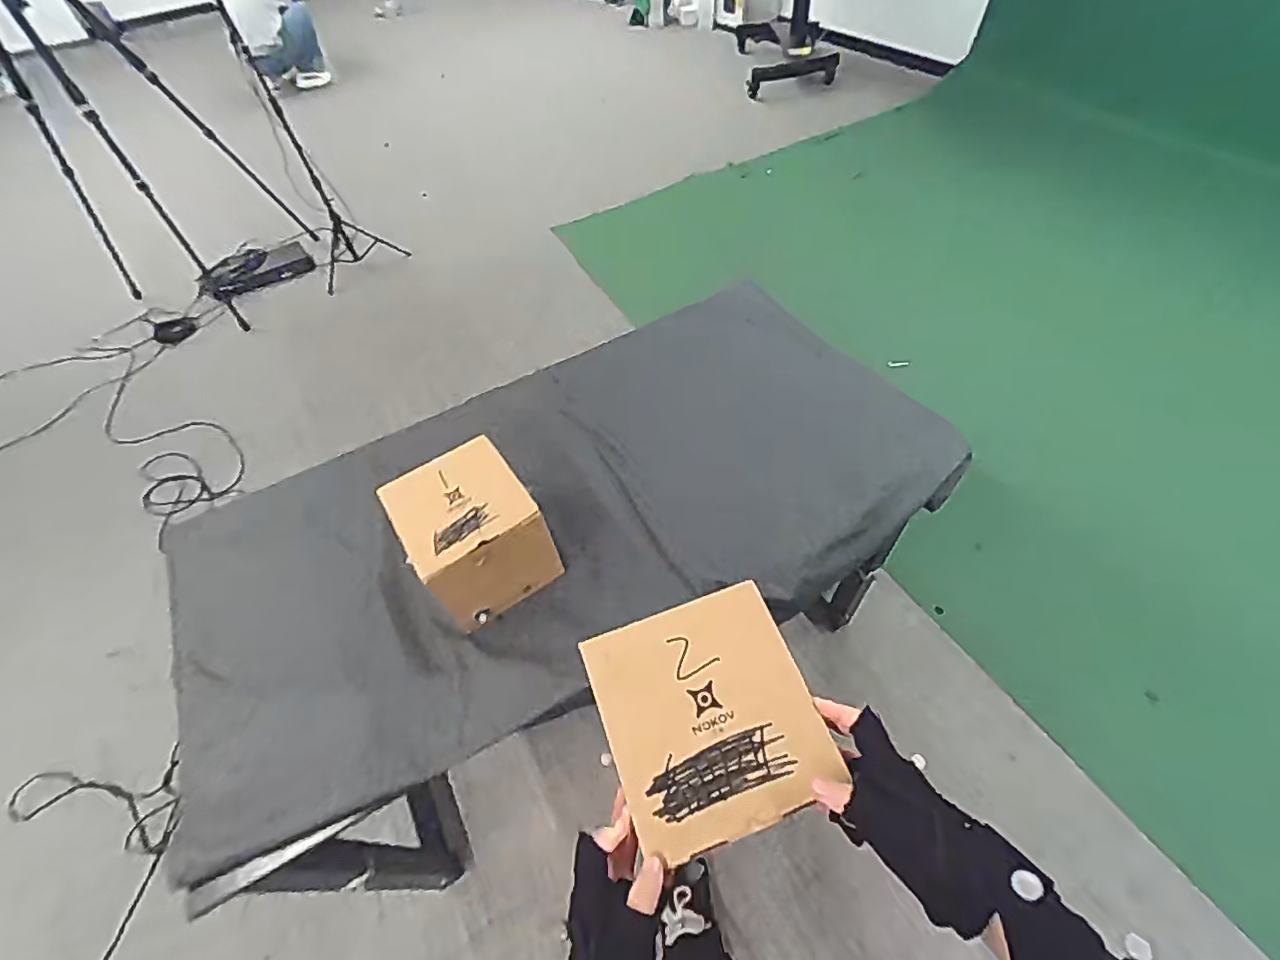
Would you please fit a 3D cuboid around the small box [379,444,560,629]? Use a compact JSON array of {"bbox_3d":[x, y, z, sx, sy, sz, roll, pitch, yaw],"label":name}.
[{"bbox_3d":[-0.233,0.088,0.772,0.168,0.176,0.179,-31,55,-18],"label":"small box"}]
